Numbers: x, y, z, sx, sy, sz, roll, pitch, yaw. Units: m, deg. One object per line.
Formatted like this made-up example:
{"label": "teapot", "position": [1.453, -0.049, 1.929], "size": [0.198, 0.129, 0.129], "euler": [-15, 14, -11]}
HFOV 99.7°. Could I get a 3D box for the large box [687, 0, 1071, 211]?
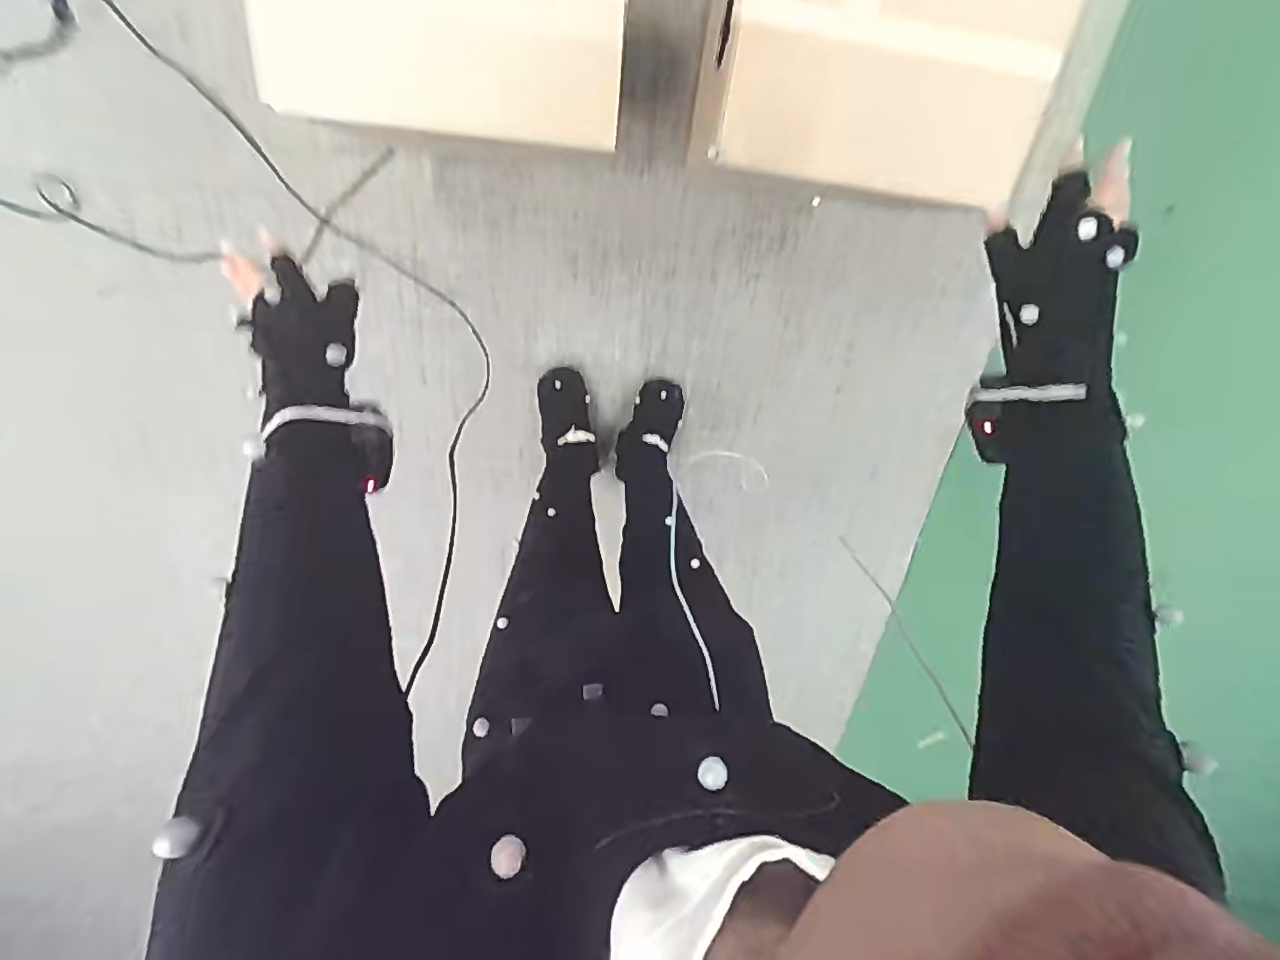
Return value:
{"label": "large box", "position": [0.306, -0.593, 0.797], "size": [0.408, 0.320, 0.320], "euler": [6, 115, -6]}
